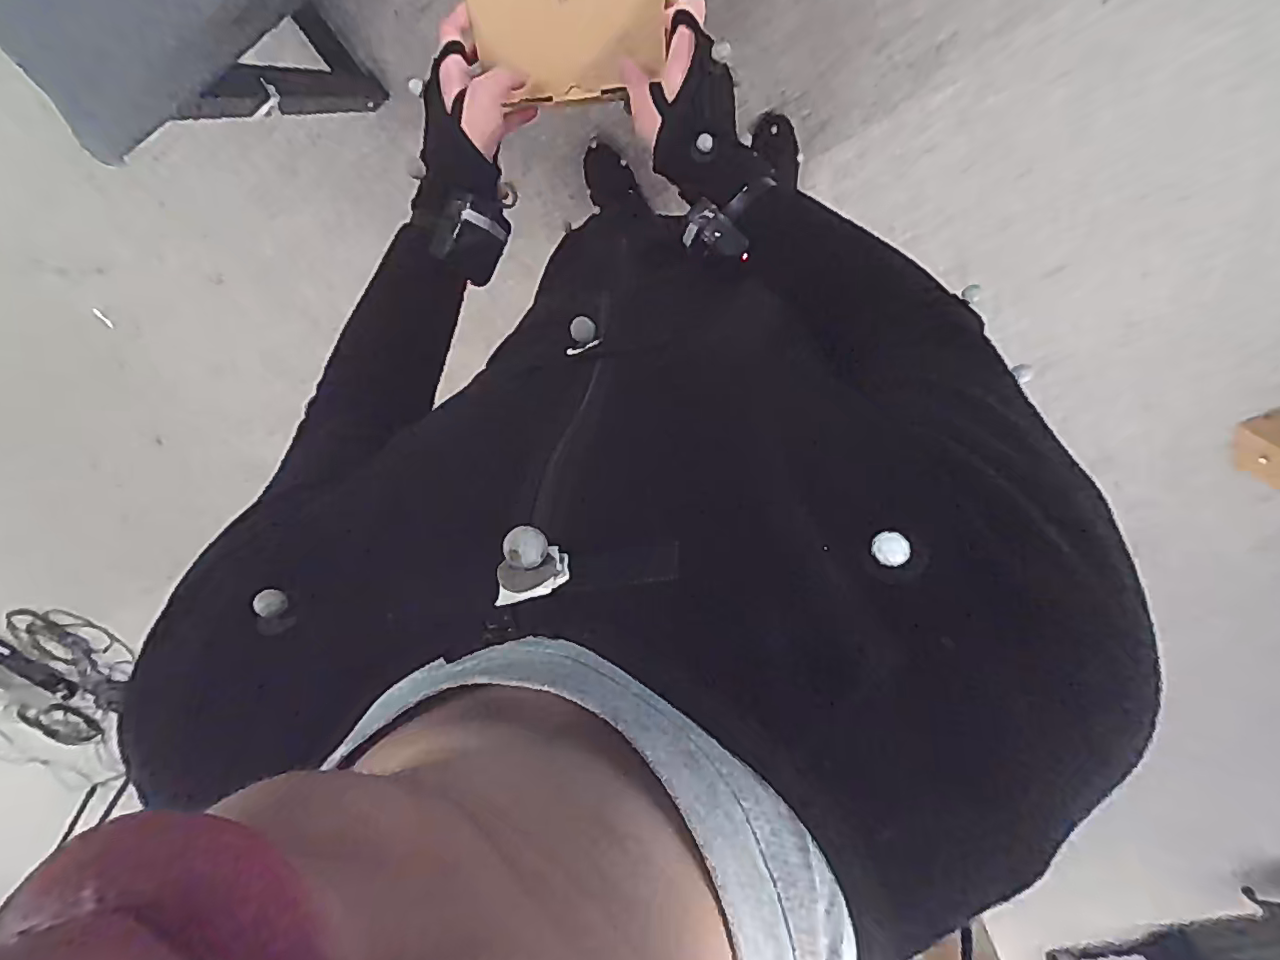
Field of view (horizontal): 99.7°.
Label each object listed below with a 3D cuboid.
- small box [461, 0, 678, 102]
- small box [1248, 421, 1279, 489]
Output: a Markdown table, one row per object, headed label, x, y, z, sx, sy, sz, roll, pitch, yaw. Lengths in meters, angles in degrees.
| label | x | y | z | sx | sy | sz | roll | pitch | yaw |
| --- | --- | --- | --- | --- | --- | --- | --- | --- | --- |
| small box | -0.058 | -0.456 | 0.488 | 0.168 | 0.176 | 0.179 | 0 | 123 | 10 |
| small box | 1.859 | -0.070 | 1.501 | 0.168 | 0.176 | 0.179 | -26 | 118 | 21 |
